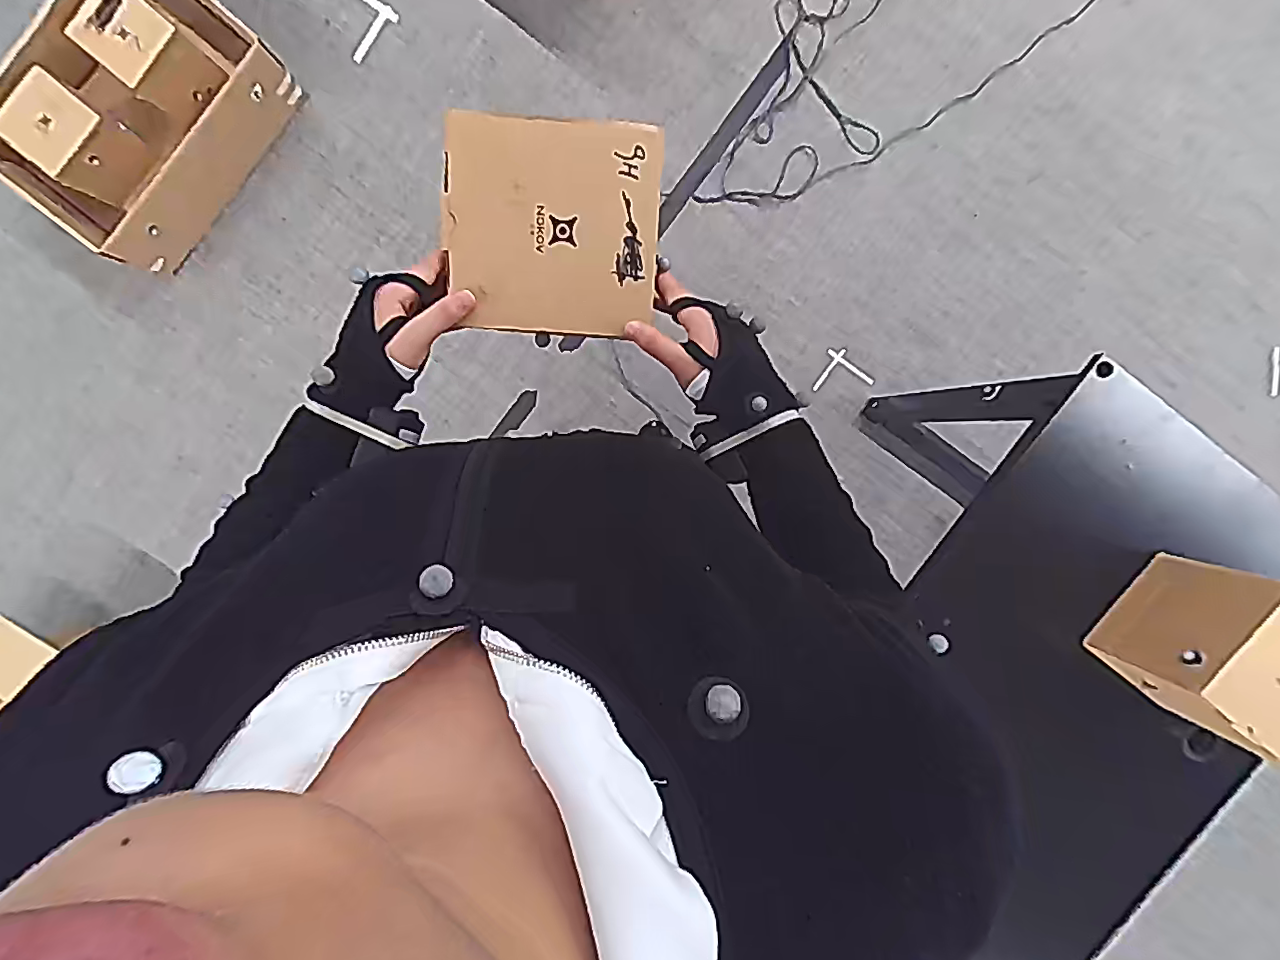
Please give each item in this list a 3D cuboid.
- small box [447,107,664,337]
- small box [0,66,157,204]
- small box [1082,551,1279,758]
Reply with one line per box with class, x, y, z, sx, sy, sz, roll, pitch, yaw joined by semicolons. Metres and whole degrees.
small box;-0.073;-0.231;0.528;0.179;0.176;0.168;3;103;-2
small box;-1.303;-0.789;1.262;0.168;0.176;0.179;41;91;-7
small box;0.771;0.220;0.735;0.168;0.176;0.179;37;94;-5
